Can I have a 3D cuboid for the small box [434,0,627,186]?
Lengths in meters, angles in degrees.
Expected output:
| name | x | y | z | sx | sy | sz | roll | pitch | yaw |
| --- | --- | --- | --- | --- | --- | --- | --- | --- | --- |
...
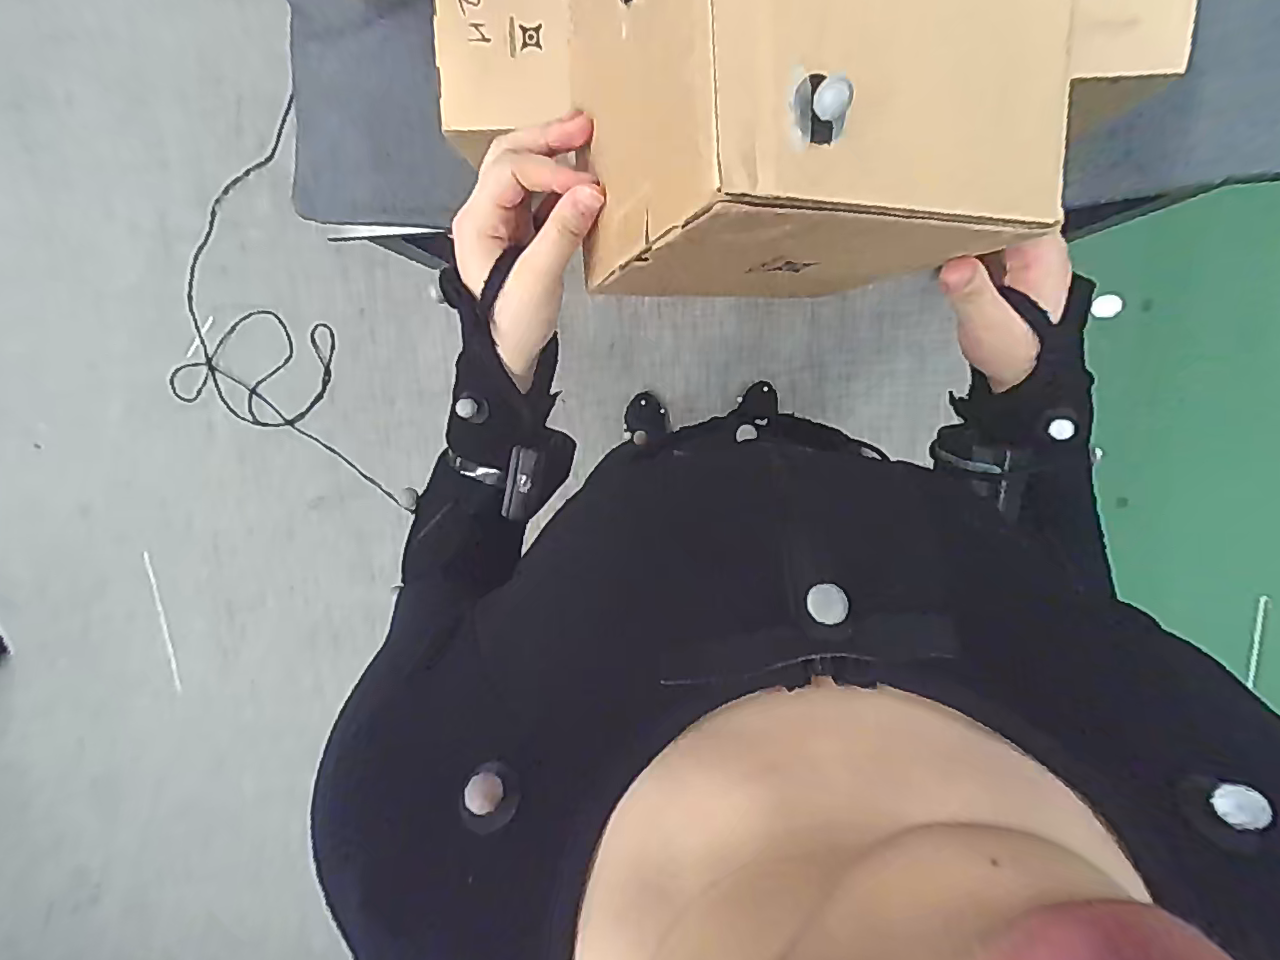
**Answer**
| name | x | y | z | sx | sy | sz | roll | pitch | yaw |
| --- | --- | --- | --- | --- | --- | --- | --- | --- | --- |
| small box | -0.107 | -0.443 | 0.600 | 0.179 | 0.176 | 0.168 | 1 | 100 | 5 |
